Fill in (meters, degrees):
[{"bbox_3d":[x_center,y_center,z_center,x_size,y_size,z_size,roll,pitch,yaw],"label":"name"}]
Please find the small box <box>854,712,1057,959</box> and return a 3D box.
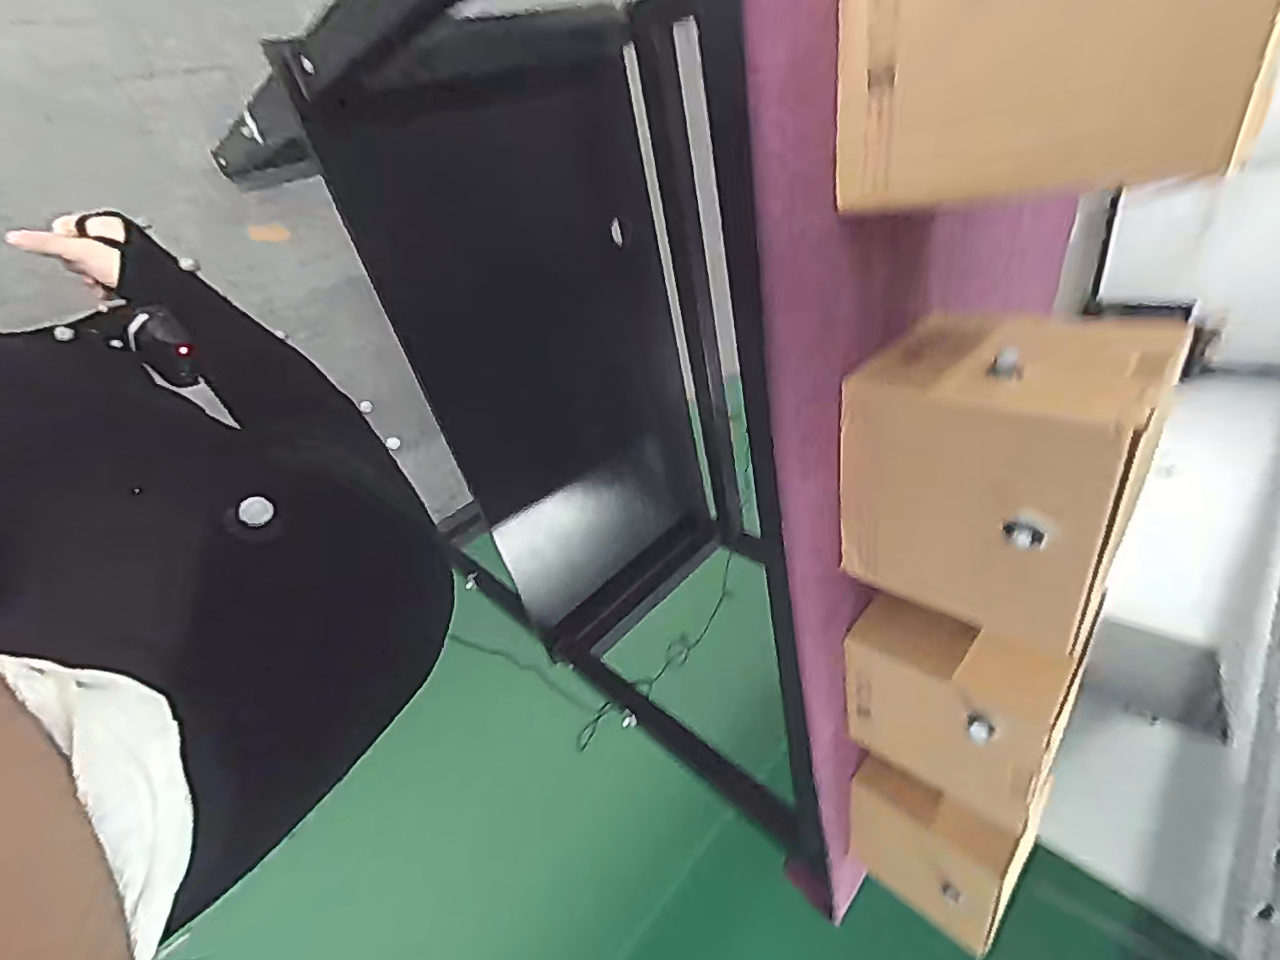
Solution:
[{"bbox_3d":[0.387,0.426,0.680,0.168,0.176,0.179,-31,123,-32],"label":"small box"}]
